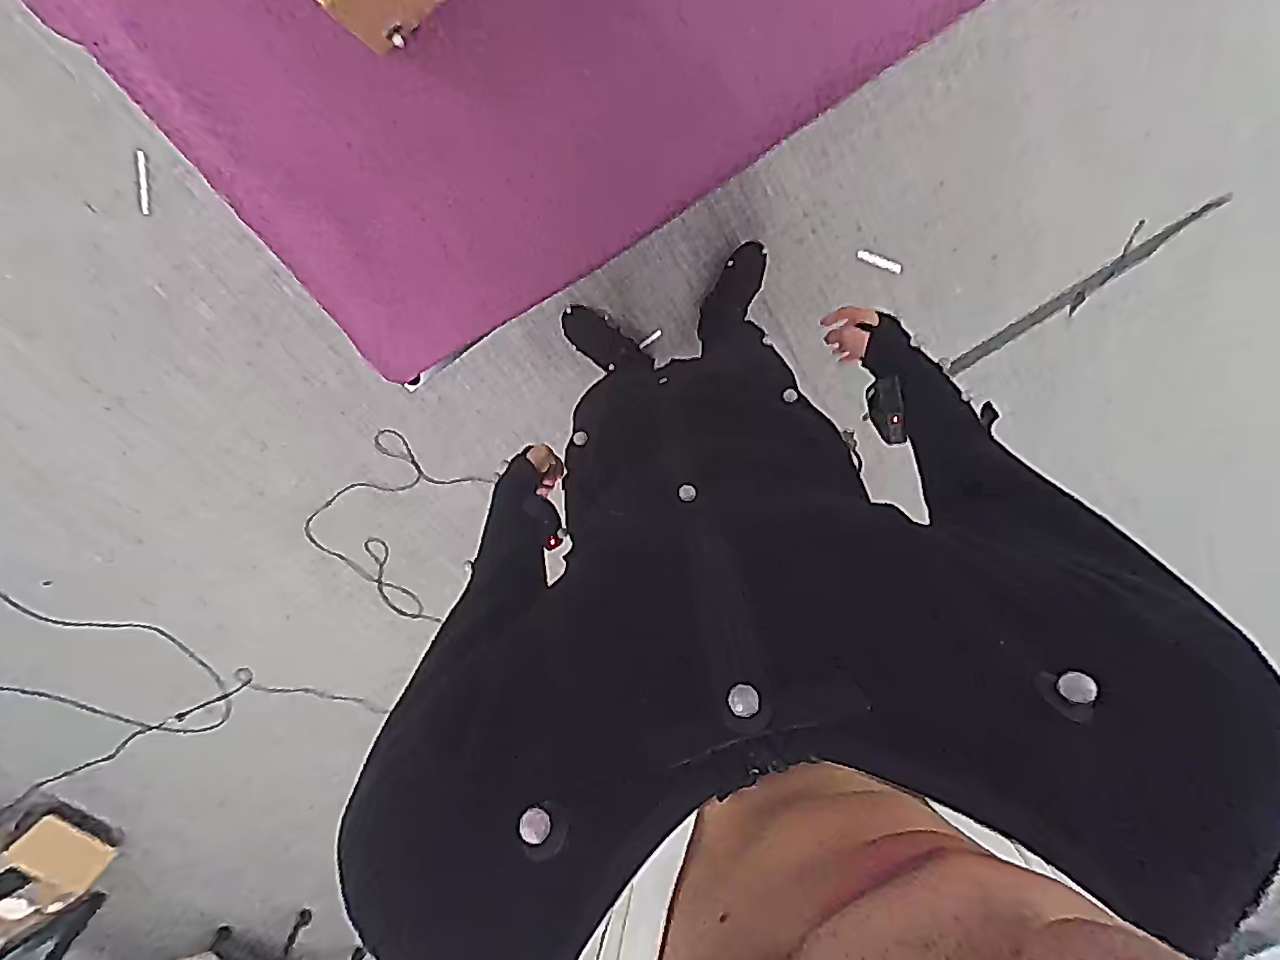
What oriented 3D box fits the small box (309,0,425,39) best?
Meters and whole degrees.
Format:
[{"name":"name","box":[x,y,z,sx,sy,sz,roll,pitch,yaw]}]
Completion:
[{"name":"small box","box":[-0.295,-0.584,0.532,0.168,0.176,0.179,-35,113,10]}]
